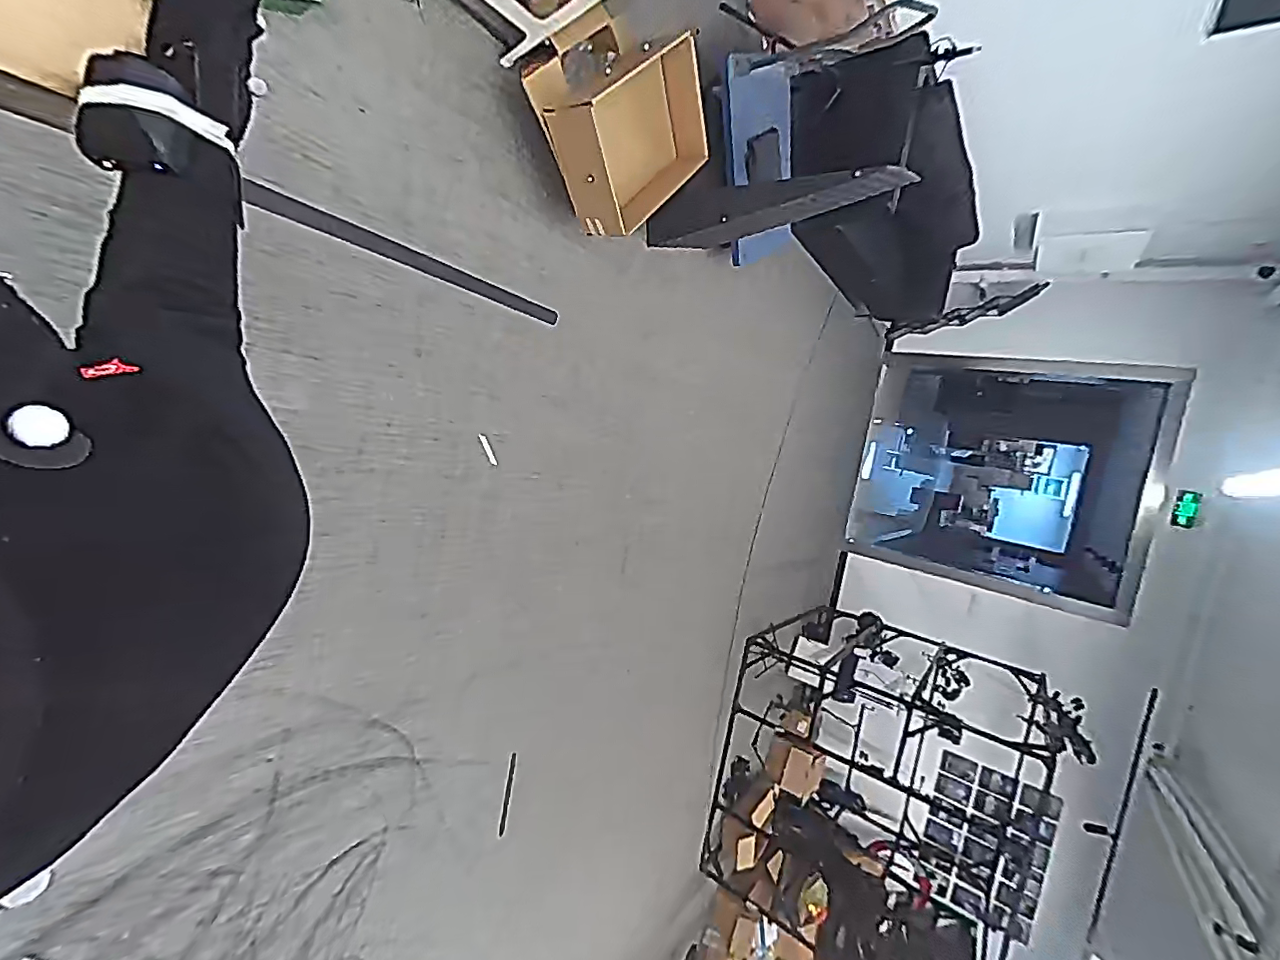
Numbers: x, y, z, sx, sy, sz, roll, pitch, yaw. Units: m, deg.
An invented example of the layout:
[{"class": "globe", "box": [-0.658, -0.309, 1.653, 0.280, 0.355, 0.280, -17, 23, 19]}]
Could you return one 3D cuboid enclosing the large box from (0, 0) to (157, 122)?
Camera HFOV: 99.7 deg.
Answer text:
[{"class": "large box", "box": [-0.567, -0.463, 0.294, 0.408, 0.320, 0.320, -3, 115, -58]}]
